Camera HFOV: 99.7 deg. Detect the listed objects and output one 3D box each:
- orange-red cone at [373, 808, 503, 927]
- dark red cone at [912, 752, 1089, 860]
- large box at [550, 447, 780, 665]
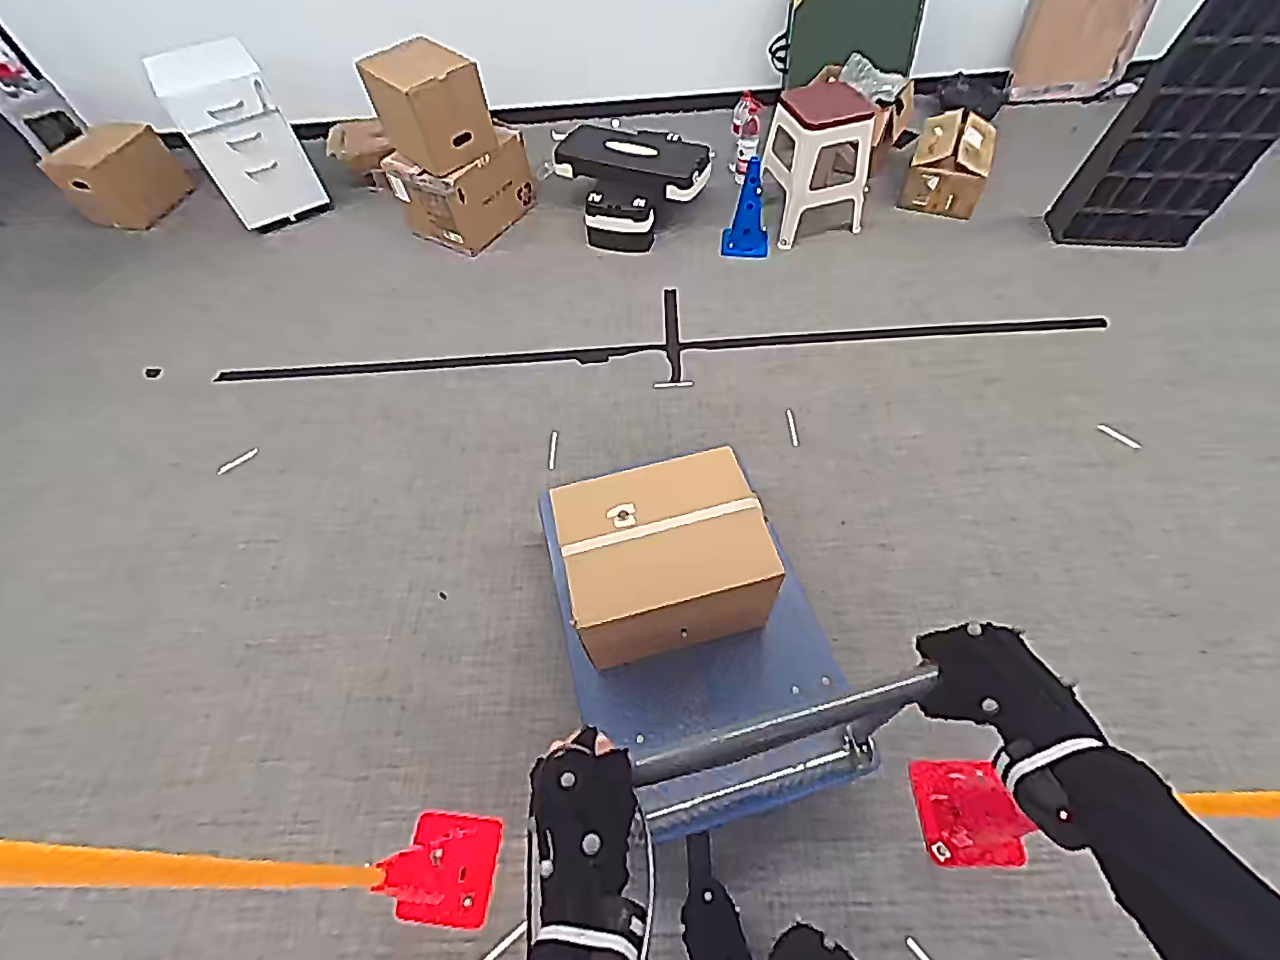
[{"bbox_3d":[-0.420,0.744,1.041,0.198,0.360,0.199,4,56,5],"label":"orange-red cone"},{"bbox_3d":[0.707,0.611,1.032,0.201,0.394,0.202,-1,57,0],"label":"dark red cone"},{"bbox_3d":[0.048,0.179,1.205,0.408,0.320,0.320,-14,57,-4],"label":"large box"}]
